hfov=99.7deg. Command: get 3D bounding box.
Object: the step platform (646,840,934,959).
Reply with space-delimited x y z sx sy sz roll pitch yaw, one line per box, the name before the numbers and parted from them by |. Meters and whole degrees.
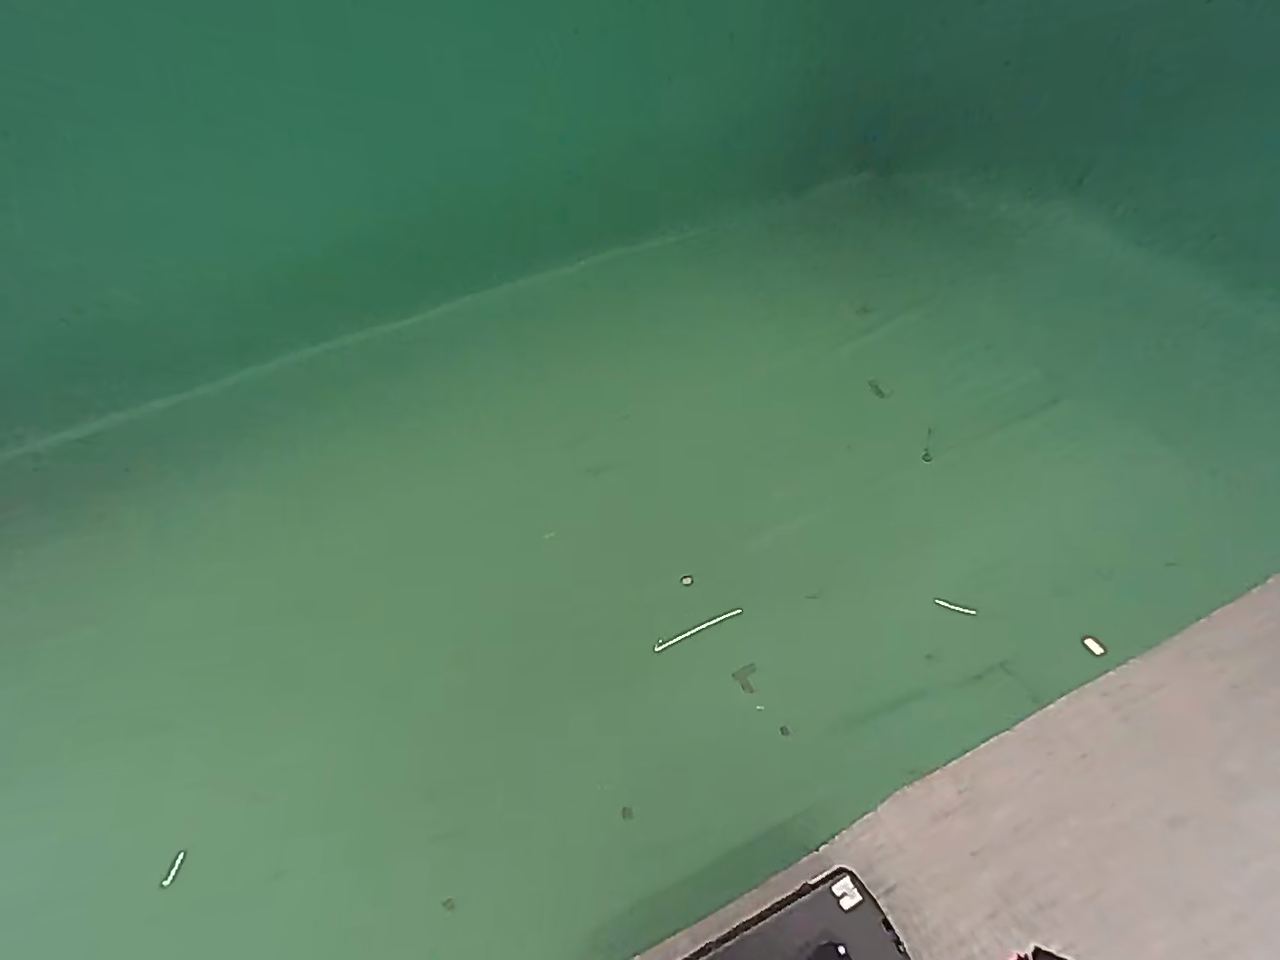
step platform | 0.192 0.964 0.979 0.684 0.204 0.286 -23 52 -11
